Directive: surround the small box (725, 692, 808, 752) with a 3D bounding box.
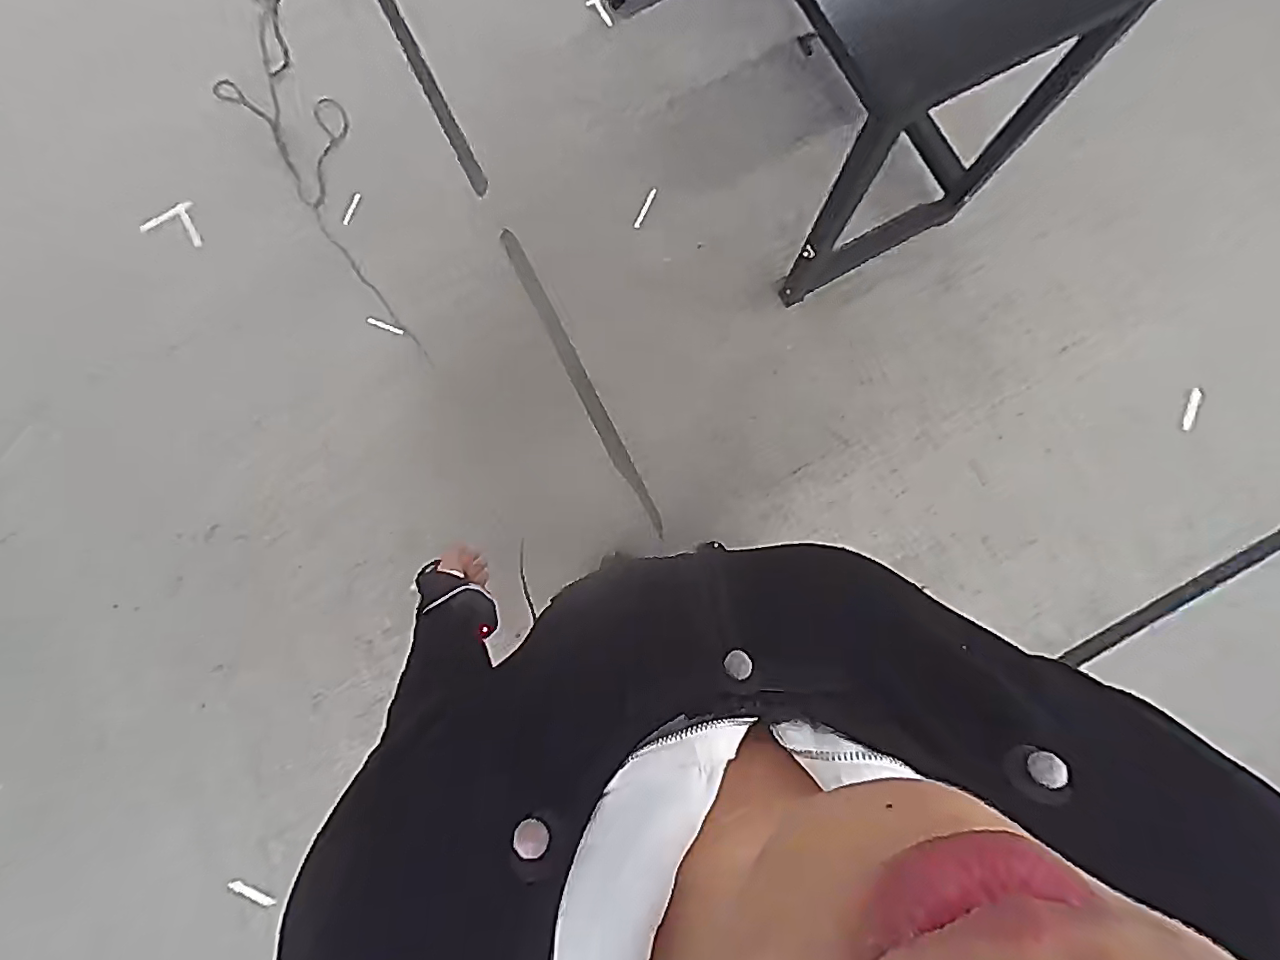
[{"bbox_3d":[0.307,0.607,1.203,0.168,0.176,0.179,-30,84,-1],"label":"small box"}]

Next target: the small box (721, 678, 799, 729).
[{"bbox_3d":[0.316,0.628,1.365,0.179,0.176,0.168,-28,83,-2],"label":"small box"}]

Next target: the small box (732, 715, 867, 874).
[{"bbox_3d":[0.295,0.589,1.039,0.168,0.176,0.179,-30,82,-1],"label":"small box"}]
